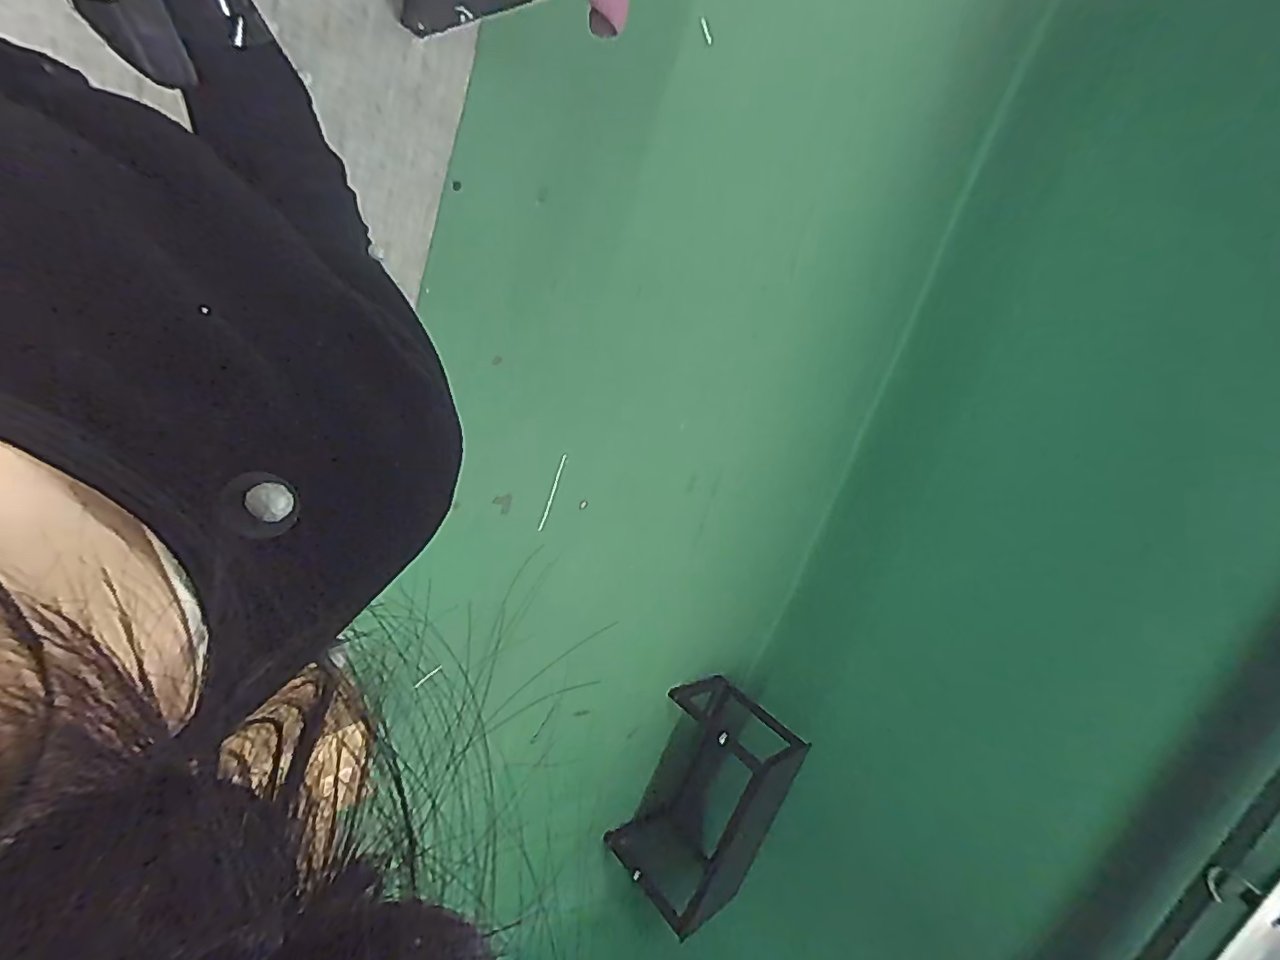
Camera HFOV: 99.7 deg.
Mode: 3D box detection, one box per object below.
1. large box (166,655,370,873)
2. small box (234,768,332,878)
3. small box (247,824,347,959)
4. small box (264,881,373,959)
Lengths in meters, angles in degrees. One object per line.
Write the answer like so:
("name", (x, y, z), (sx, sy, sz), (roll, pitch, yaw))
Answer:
("large box", (-1.040, 0.773, 1.538), (0.408, 0.320, 0.320), (-14, 124, -42))
("small box", (-0.898, 0.874, 1.364), (0.179, 0.176, 0.168), (-8, 118, -43))
("small box", (-0.798, 0.943, 1.253), (0.168, 0.176, 0.179), (-6, 117, -44))
("small box", (-0.686, 1.008, 1.152), (0.168, 0.176, 0.179), (-8, 116, -43))
